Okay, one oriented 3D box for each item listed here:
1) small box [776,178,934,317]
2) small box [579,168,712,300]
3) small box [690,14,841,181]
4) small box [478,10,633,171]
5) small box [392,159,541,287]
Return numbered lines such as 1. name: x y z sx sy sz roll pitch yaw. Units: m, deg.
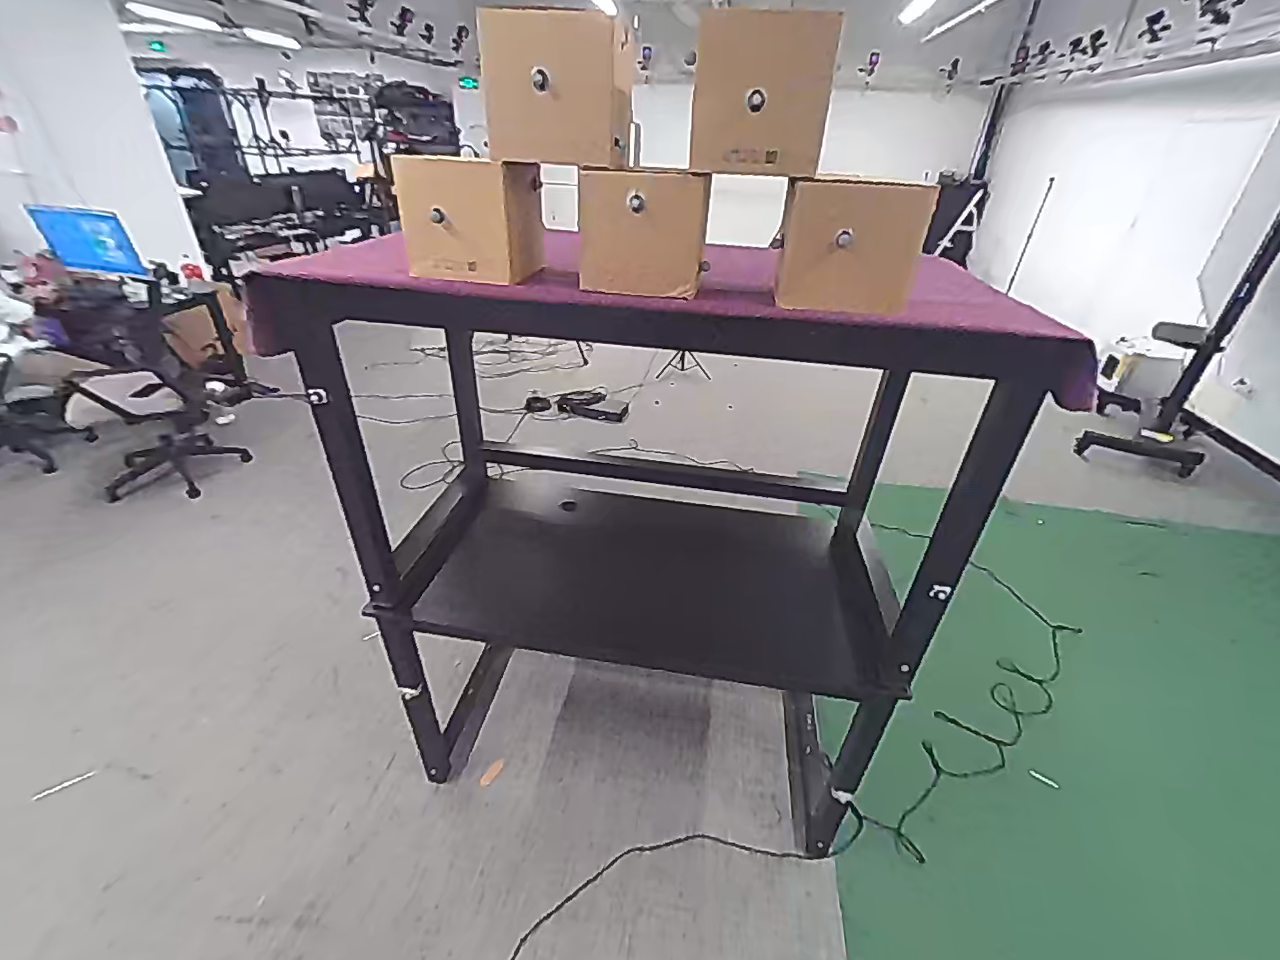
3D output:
1. small box: 0.298 -0.345 0.798 0.179 0.176 0.168 5 33 7
2. small box: 0.011 -0.381 0.834 0.179 0.176 0.168 8 32 7
3. small box: 0.159 -0.504 0.730 0.168 0.176 0.179 6 31 6
4. small box: -0.109 -0.541 0.770 0.179 0.176 0.168 6 31 5
5. small box: -0.260 -0.412 0.863 0.168 0.176 0.179 7 30 5
